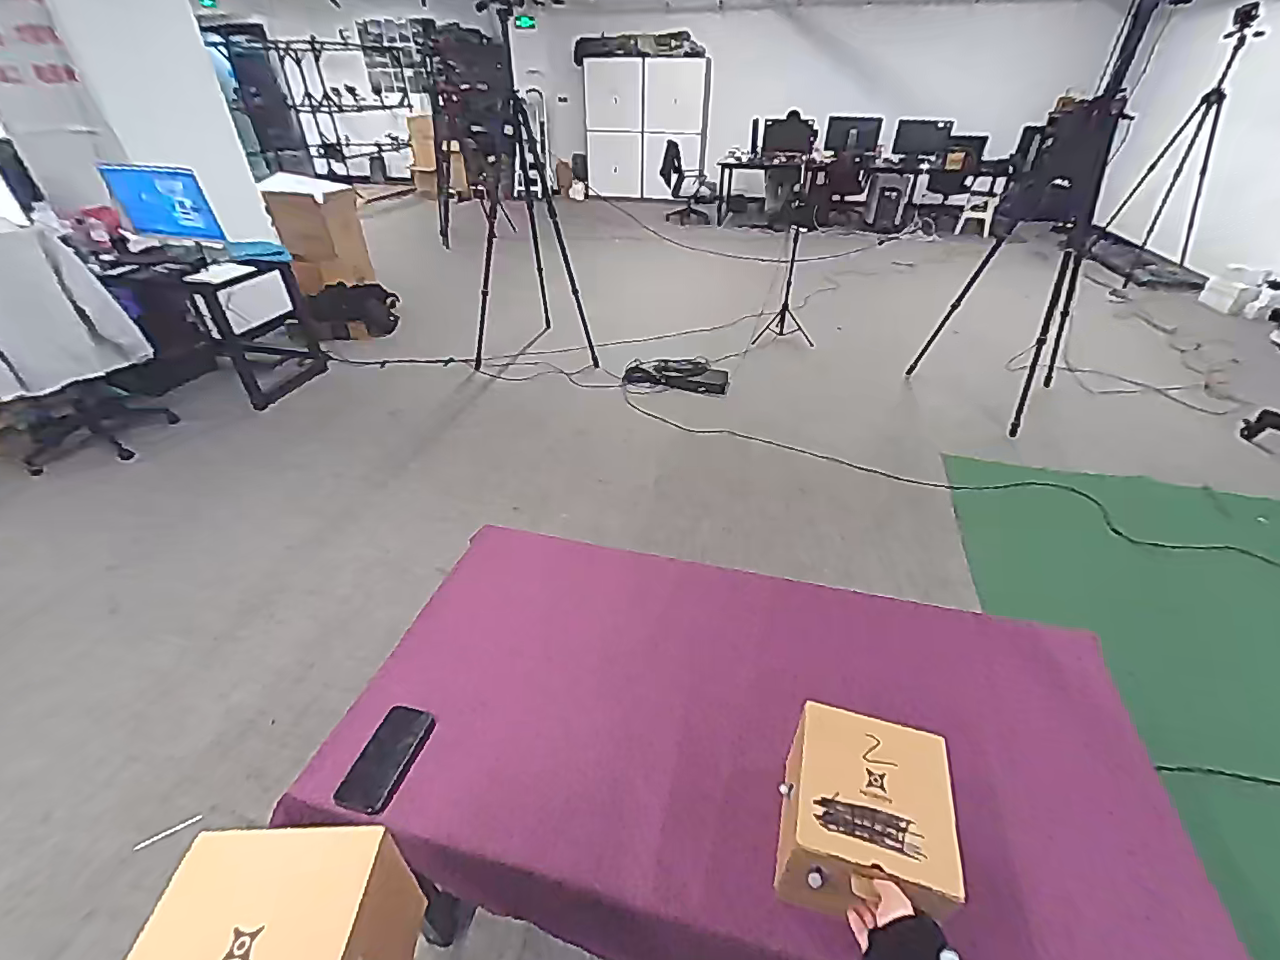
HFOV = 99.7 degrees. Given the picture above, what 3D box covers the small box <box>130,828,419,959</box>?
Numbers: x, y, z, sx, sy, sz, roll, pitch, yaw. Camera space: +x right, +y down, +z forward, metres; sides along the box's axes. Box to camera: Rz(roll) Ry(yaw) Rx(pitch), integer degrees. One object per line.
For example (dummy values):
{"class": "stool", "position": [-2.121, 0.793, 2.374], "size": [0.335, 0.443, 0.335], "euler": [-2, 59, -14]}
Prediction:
{"class": "small box", "position": [-0.302, 0.425, 0.455], "size": [0.168, 0.176, 0.179], "euler": [0, 35, -1]}
